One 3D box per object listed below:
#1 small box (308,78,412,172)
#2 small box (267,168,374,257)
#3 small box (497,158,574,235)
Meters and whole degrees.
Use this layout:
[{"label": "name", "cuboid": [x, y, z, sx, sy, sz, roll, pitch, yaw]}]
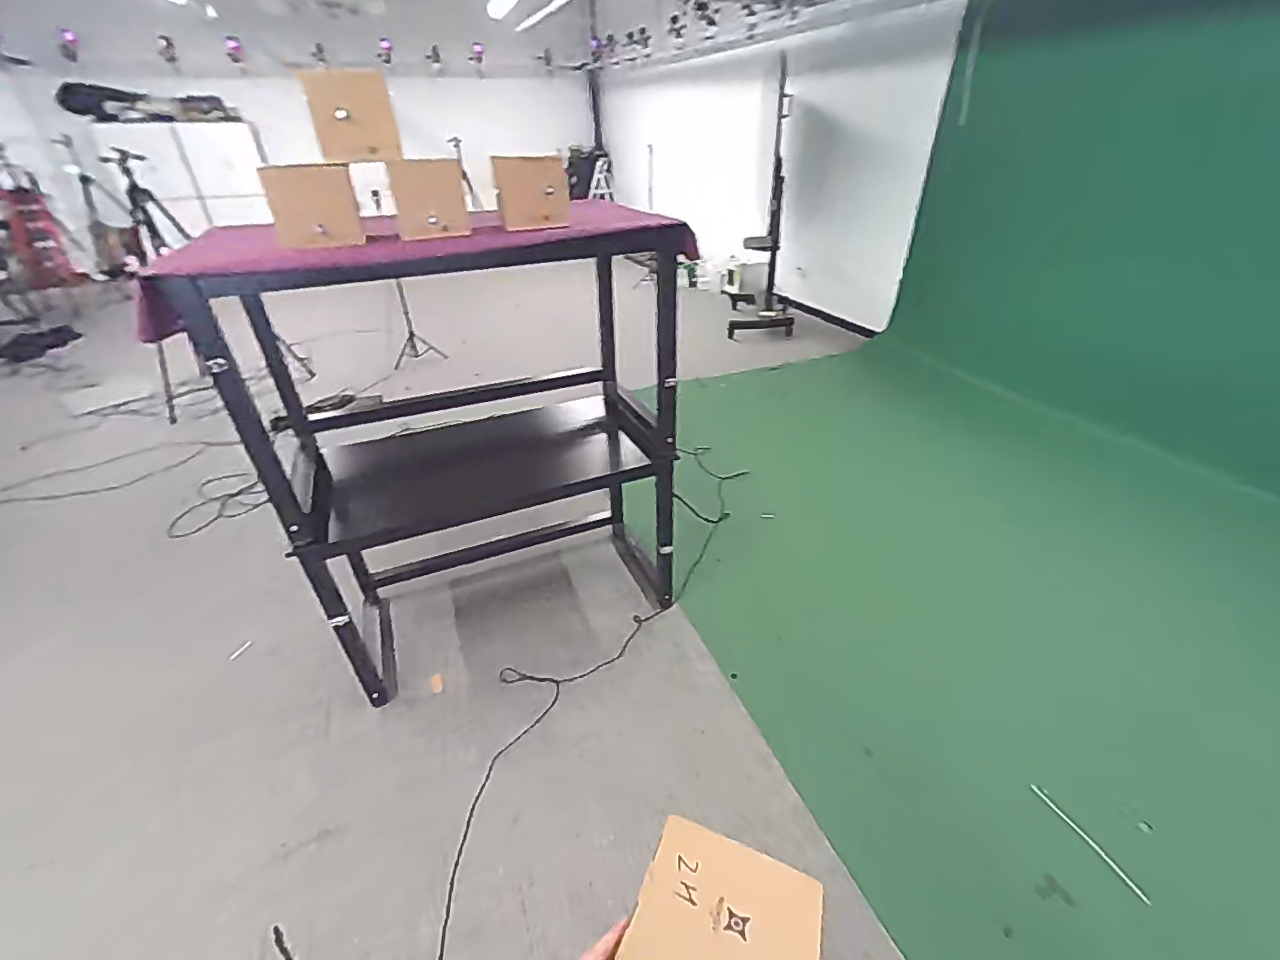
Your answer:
[{"label": "small box", "cuboid": [-0.625, -0.799, 1.227, 0.168, 0.176, 0.179, -14, 34, -17]}, {"label": "small box", "cuboid": [-0.741, -0.633, 1.276, 0.179, 0.176, 0.168, -13, 34, -19]}, {"label": "small box", "cuboid": [-0.277, -0.751, 1.436, 0.168, 0.176, 0.179, -12, 32, -15]}]
